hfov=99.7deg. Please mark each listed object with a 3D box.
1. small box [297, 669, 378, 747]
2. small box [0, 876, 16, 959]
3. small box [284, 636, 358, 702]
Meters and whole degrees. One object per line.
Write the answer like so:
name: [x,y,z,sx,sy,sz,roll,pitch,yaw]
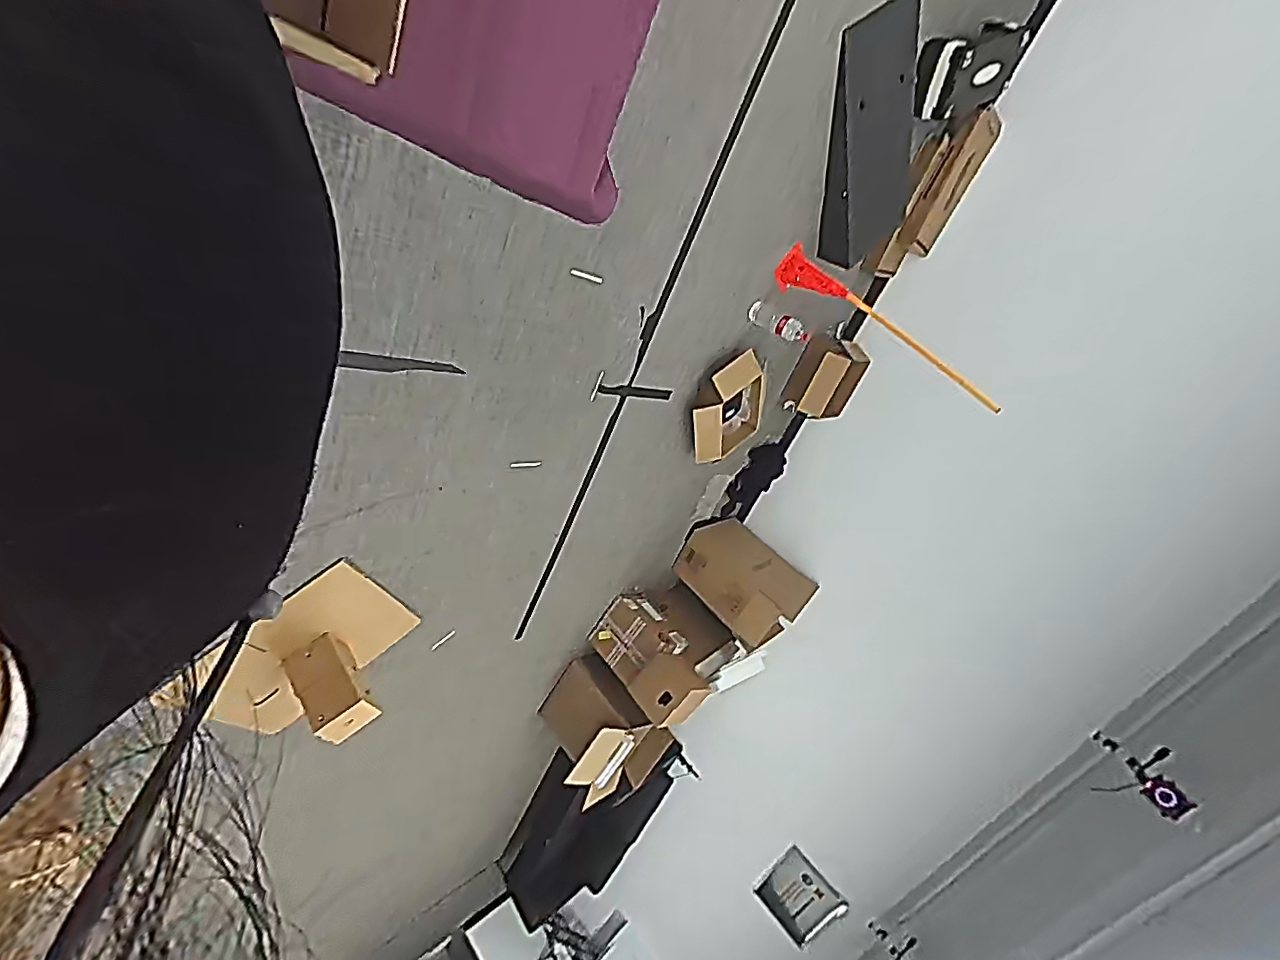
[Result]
small box: [-1.084,0.813,1.938,0.179,0.176,0.168,-34,148,-21]
small box: [-1.609,1.084,1.271,0.168,0.176,0.179,-9,132,-48]
small box: [-1.193,0.721,2.017,0.179,0.176,0.168,-34,148,-19]
